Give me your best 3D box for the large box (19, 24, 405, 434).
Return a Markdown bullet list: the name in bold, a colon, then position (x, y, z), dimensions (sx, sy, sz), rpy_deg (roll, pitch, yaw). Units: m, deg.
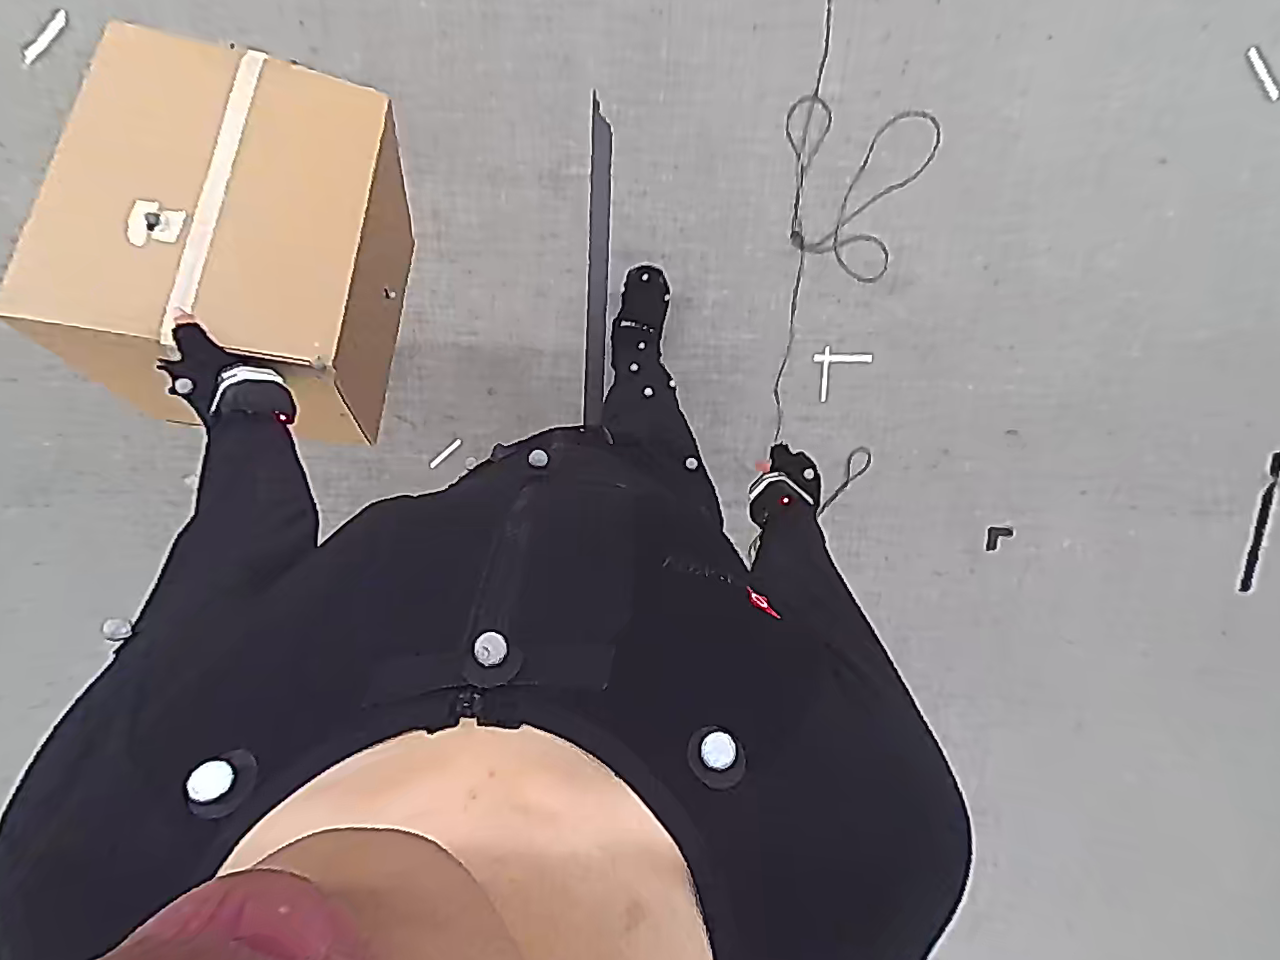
- **large box**: position (-0.543, -0.316, 0.788), dimensions (0.320, 0.320, 0.408), rpy_deg (6, 76, -15)
